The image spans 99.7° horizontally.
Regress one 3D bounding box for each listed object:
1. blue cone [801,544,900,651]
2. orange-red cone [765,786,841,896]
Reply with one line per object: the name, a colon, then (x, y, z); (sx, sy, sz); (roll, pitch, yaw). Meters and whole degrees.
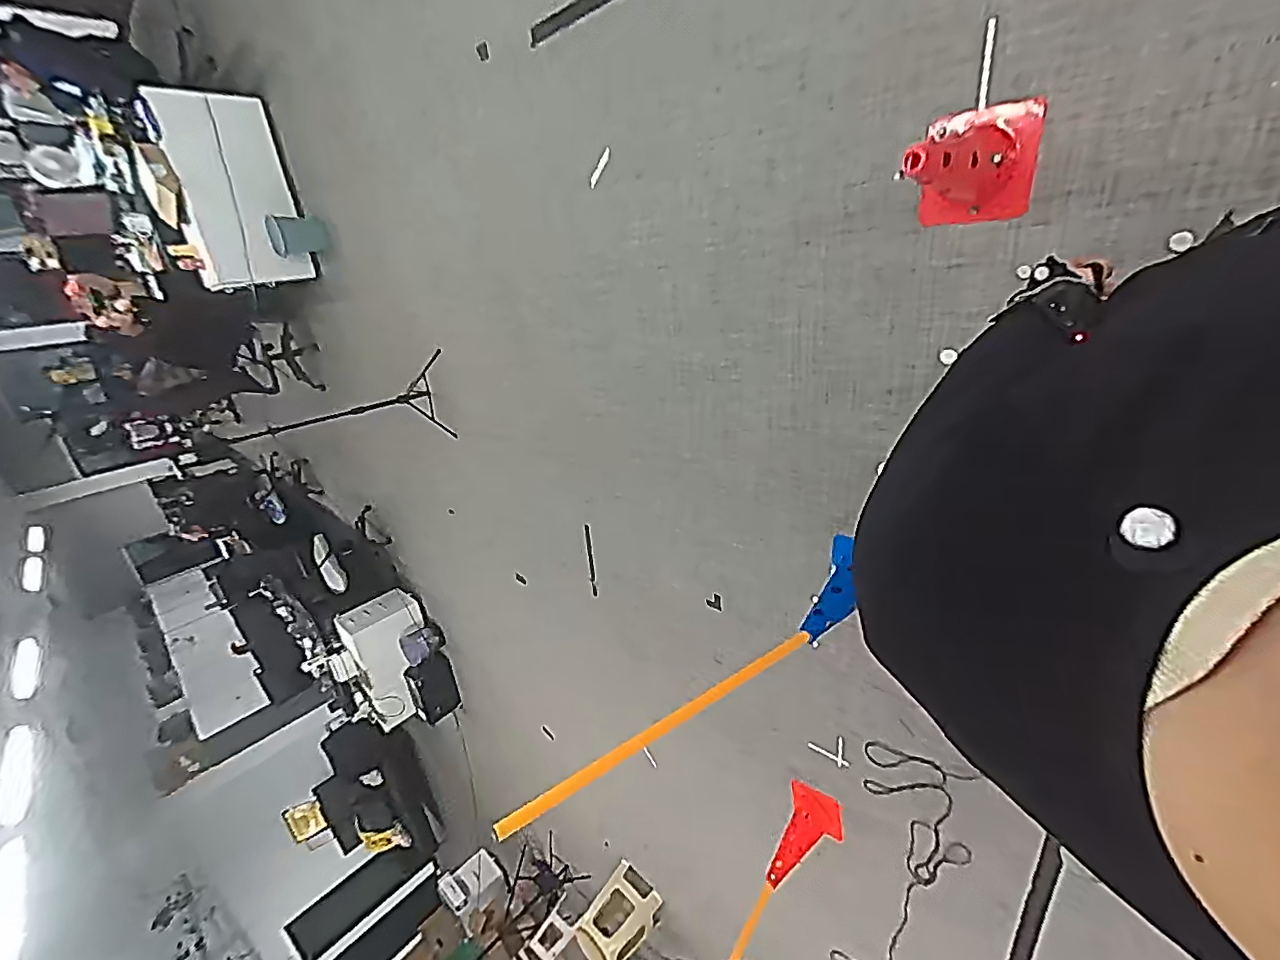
blue cone: (0.543, 0.339, 1.468); (0.193, 0.380, 0.192); (18, 123, 40)
orange-red cone: (0.559, 1.338, 1.953); (0.199, 0.360, 0.198); (8, 116, 43)
